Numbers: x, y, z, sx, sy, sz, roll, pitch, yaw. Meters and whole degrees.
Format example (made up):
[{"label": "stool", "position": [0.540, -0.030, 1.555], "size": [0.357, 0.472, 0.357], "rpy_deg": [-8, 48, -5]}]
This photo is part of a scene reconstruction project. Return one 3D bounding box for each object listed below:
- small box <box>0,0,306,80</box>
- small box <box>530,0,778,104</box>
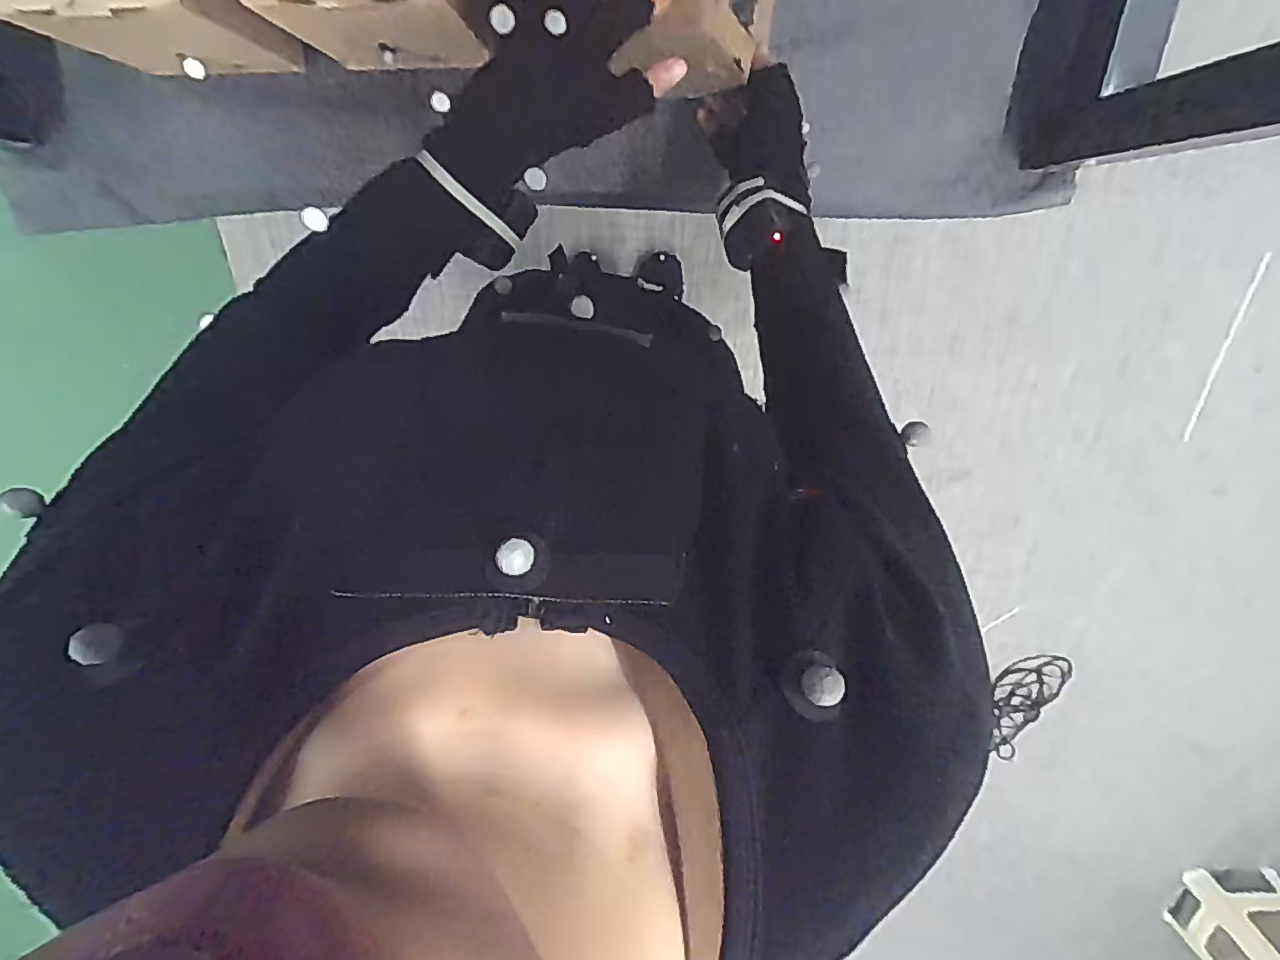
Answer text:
[{"label": "small box", "position": [-0.432, -0.477, 0.468], "size": [0.168, 0.176, 0.179], "rpy_deg": [0, 113, 1]}, {"label": "small box", "position": [0.019, -0.440, 0.453], "size": [0.176, 0.168, 0.179], "rpy_deg": [13, 113, 17]}]
